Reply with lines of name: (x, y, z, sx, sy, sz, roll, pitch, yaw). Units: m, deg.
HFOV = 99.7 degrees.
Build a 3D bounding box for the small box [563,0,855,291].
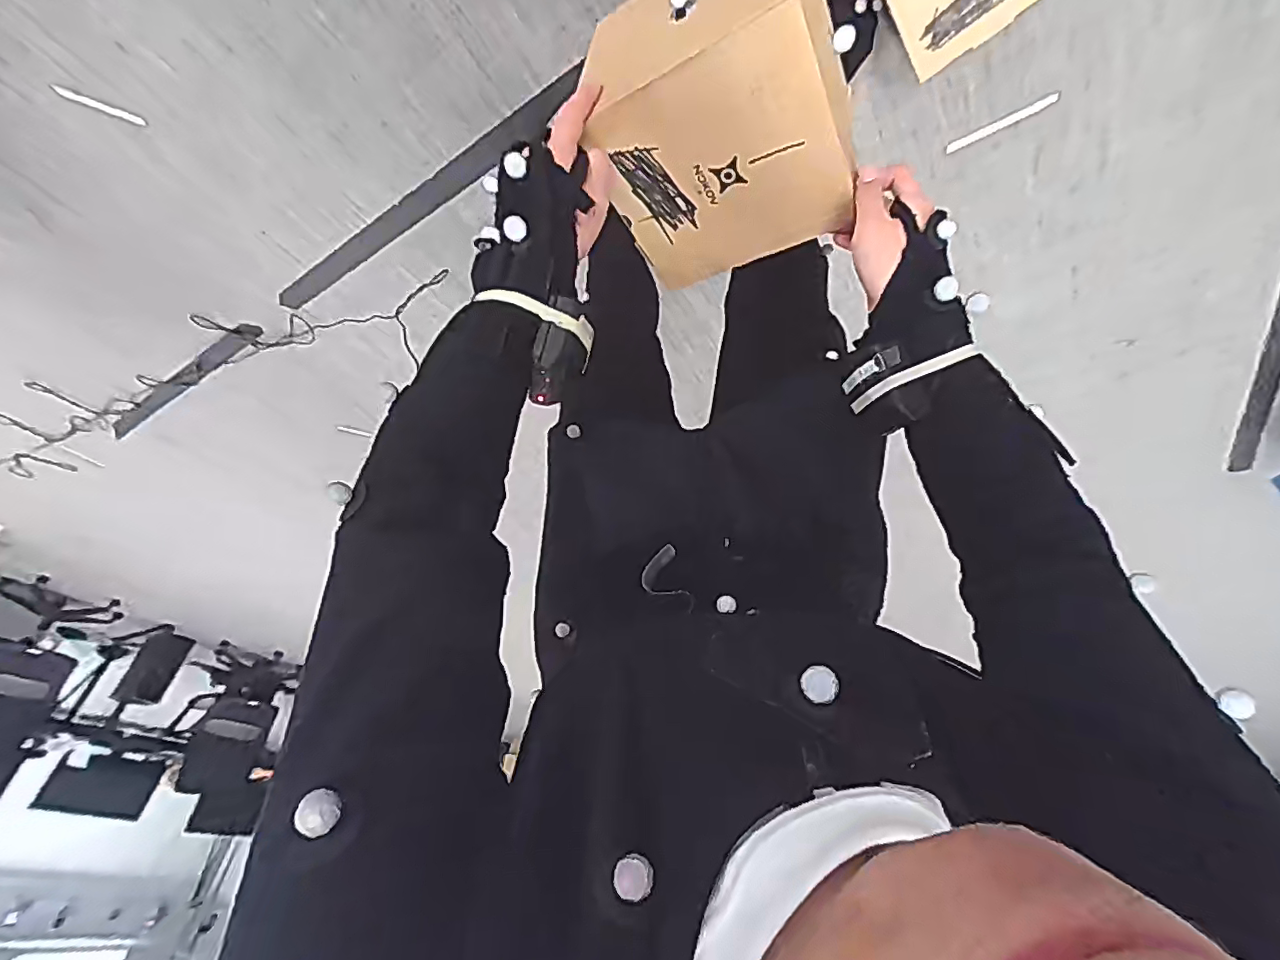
small box: (0.065, -0.298, 0.447, 0.179, 0.176, 0.168, -12, 147, 30)
